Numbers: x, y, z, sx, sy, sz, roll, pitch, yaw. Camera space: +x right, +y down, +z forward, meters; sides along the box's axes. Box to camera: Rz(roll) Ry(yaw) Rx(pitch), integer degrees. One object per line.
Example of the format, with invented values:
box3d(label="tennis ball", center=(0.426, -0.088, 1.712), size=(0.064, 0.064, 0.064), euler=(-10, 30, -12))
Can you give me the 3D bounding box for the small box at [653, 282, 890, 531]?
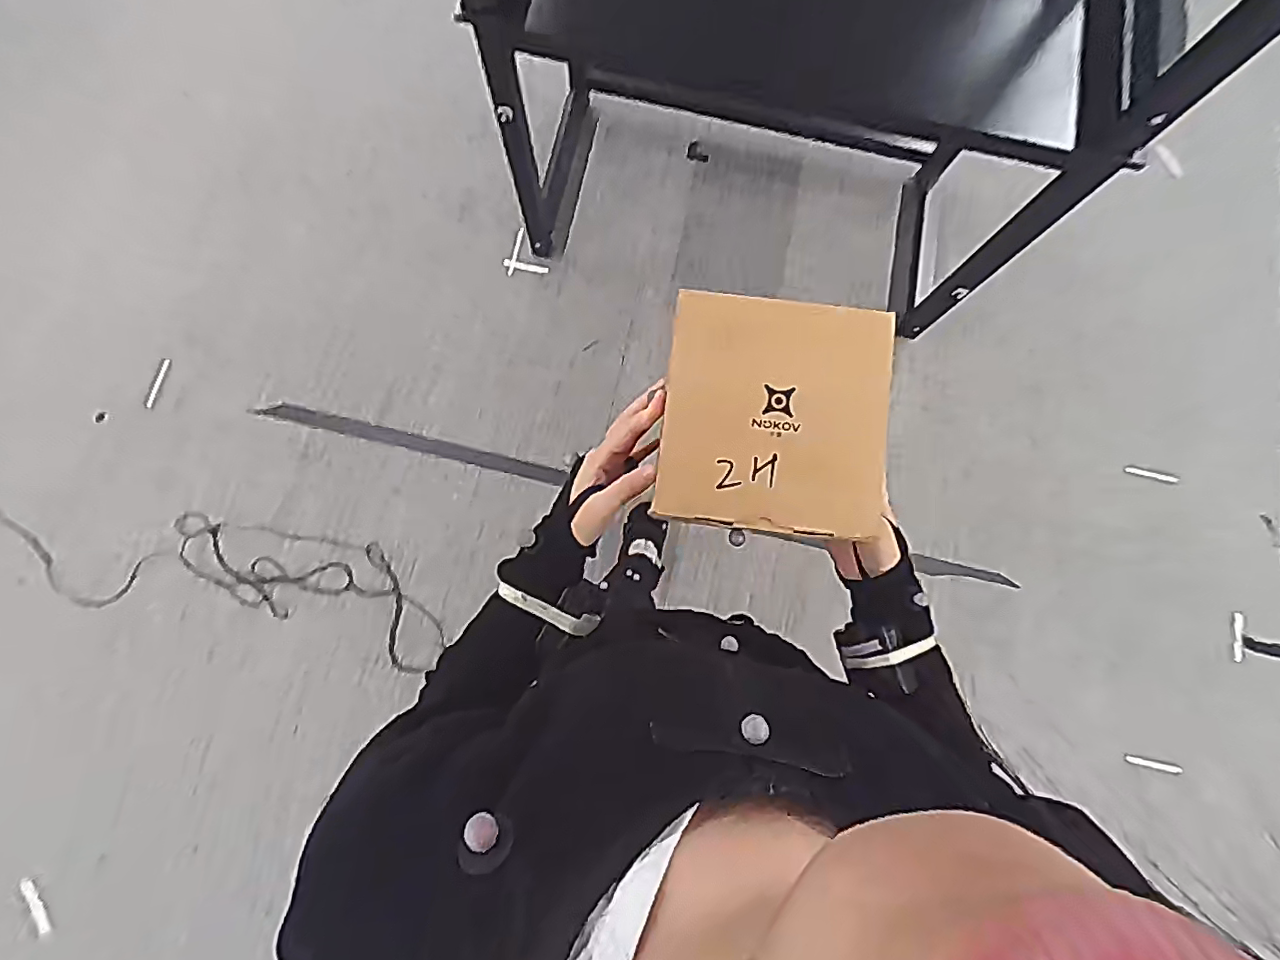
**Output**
box3d(label="small box", center=(0.103, -0.051, 0.488), size=(0.168, 0.176, 0.179), euler=(7, 85, 2))
